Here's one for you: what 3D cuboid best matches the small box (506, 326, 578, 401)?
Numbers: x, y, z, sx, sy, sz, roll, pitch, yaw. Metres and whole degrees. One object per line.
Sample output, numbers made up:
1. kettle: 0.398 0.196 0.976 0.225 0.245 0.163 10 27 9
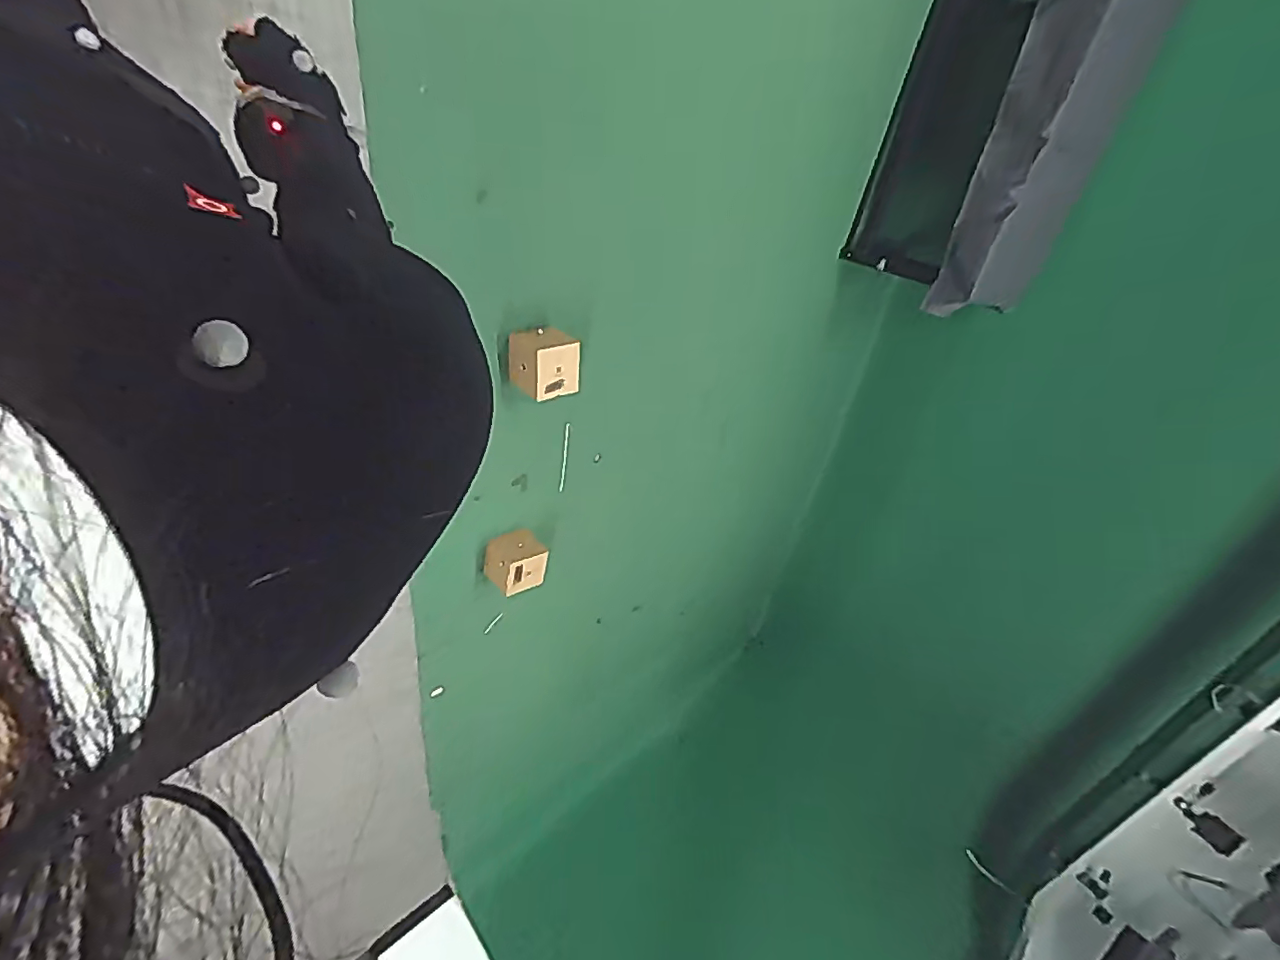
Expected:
1. small box: -0.324 -0.384 1.765 0.168 0.176 0.179 -23 134 -38
